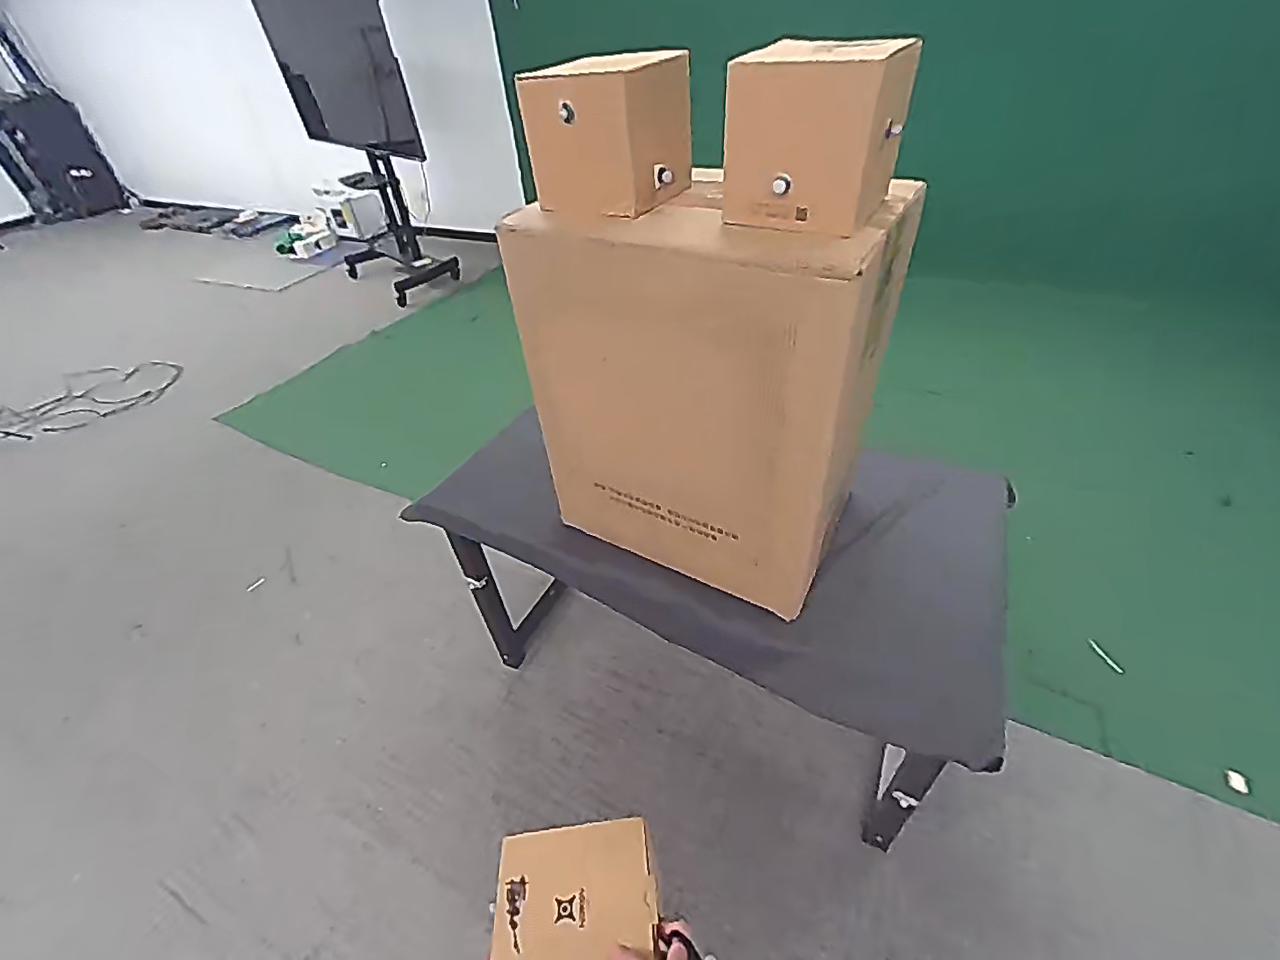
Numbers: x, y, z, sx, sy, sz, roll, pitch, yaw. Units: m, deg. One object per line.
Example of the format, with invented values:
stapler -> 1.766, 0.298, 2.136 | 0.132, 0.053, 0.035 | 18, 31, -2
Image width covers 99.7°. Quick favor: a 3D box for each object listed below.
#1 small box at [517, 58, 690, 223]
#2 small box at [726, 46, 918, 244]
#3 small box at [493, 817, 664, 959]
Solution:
small box -> -0.042, -0.484, 0.773 | 0.179, 0.176, 0.168 | 20, 50, 25
small box -> 0.211, -0.410, 0.657 | 0.168, 0.176, 0.179 | 20, 49, 25
small box -> -0.063, 0.529, 0.638 | 0.179, 0.176, 0.168 | -7, 37, -1
